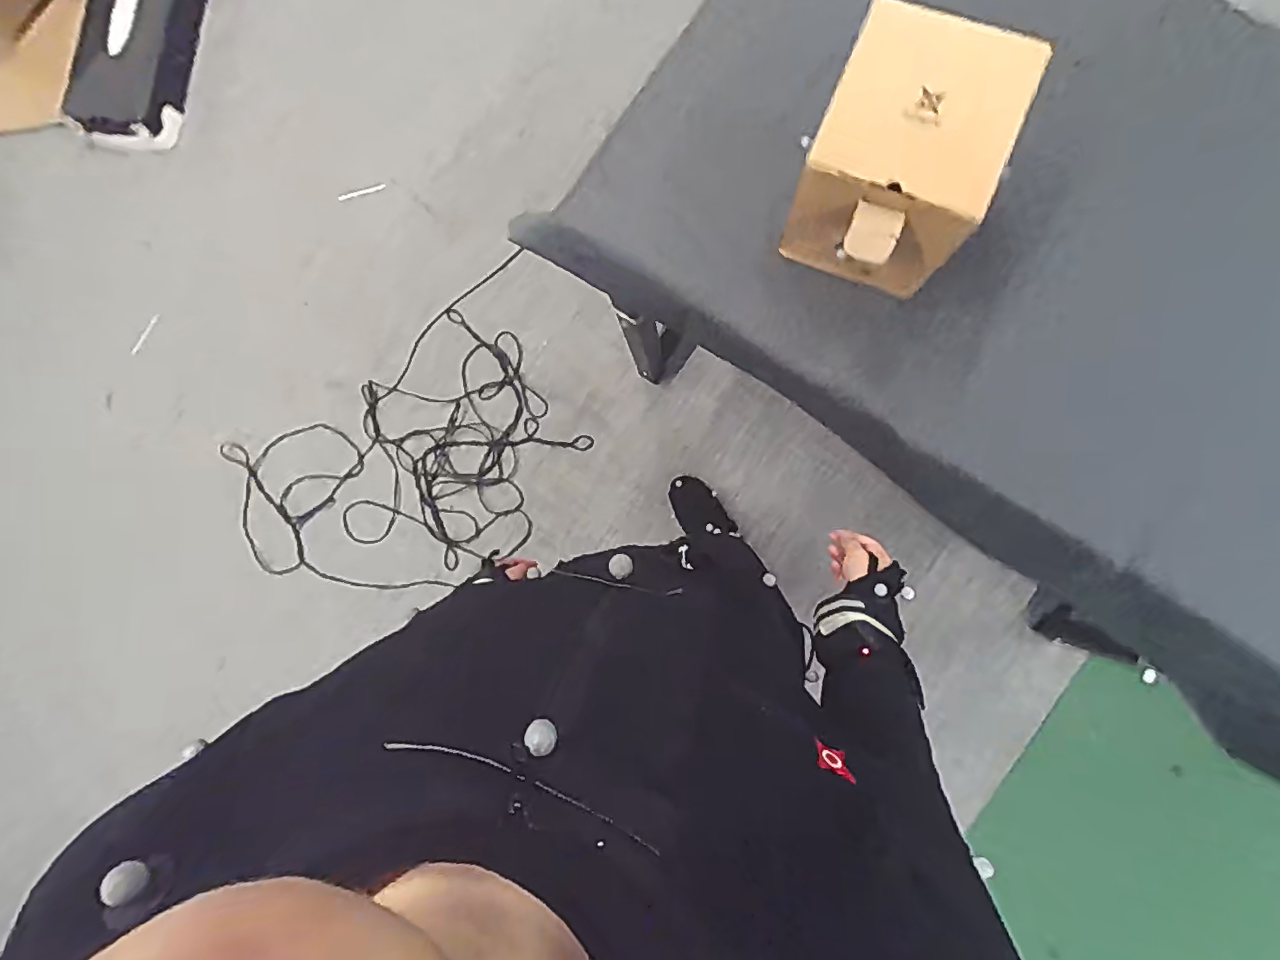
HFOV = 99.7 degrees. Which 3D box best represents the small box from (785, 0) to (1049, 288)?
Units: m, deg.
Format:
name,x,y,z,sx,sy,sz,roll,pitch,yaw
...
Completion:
name,x,y,z,sx,sy,sz,roll,pitch,yaw
small box,0.268,-0.338,0.569,0.168,0.176,0.179,22,88,6
